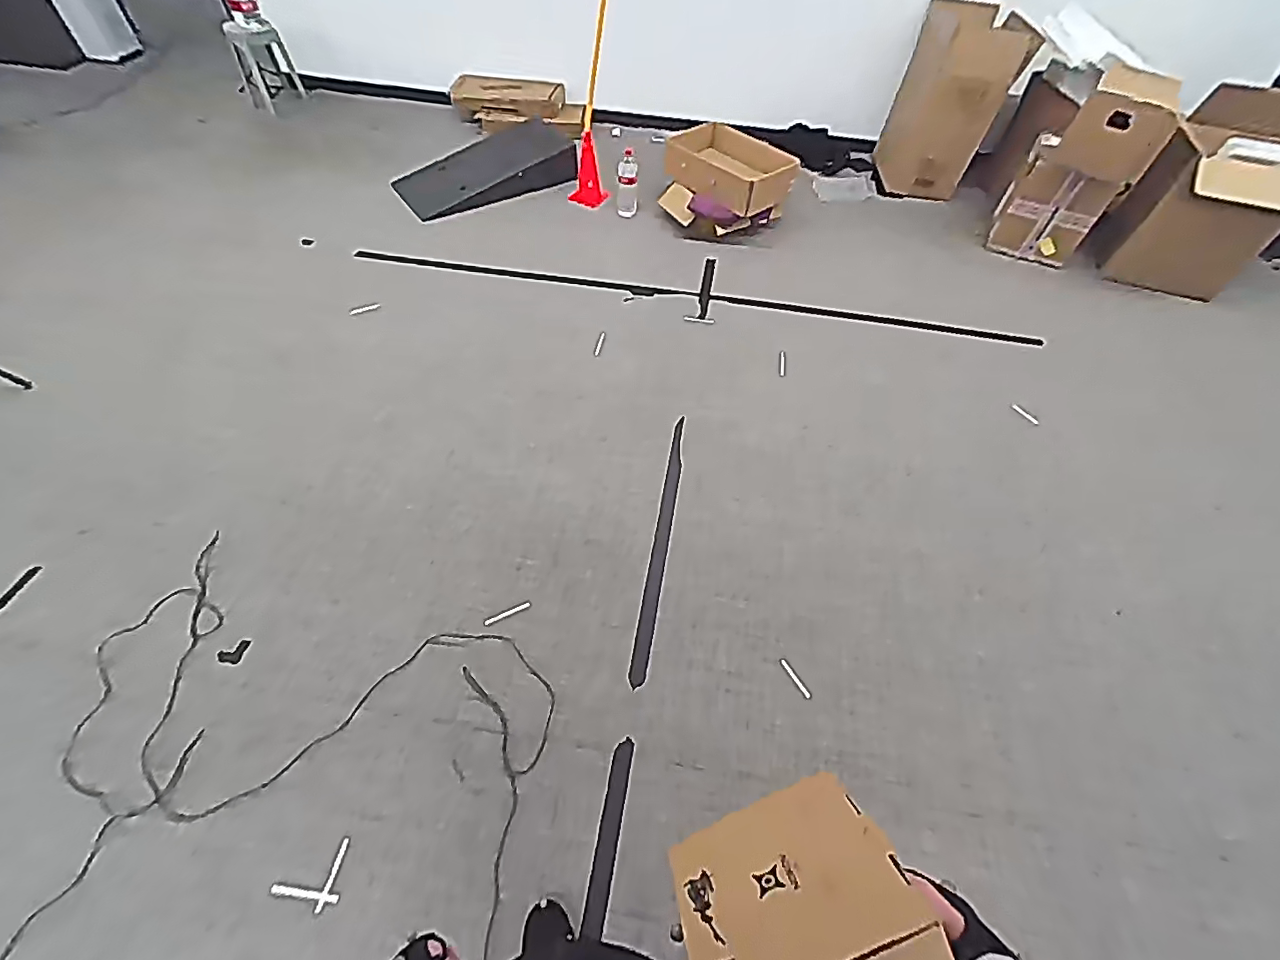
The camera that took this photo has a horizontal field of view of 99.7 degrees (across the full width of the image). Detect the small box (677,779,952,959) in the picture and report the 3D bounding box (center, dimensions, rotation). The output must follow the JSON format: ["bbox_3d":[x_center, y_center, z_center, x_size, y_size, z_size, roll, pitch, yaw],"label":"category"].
[{"bbox_3d":[0.151,0.408,0.459,0.179,0.168,0.176,-23,95,-3],"label":"small box"}]
